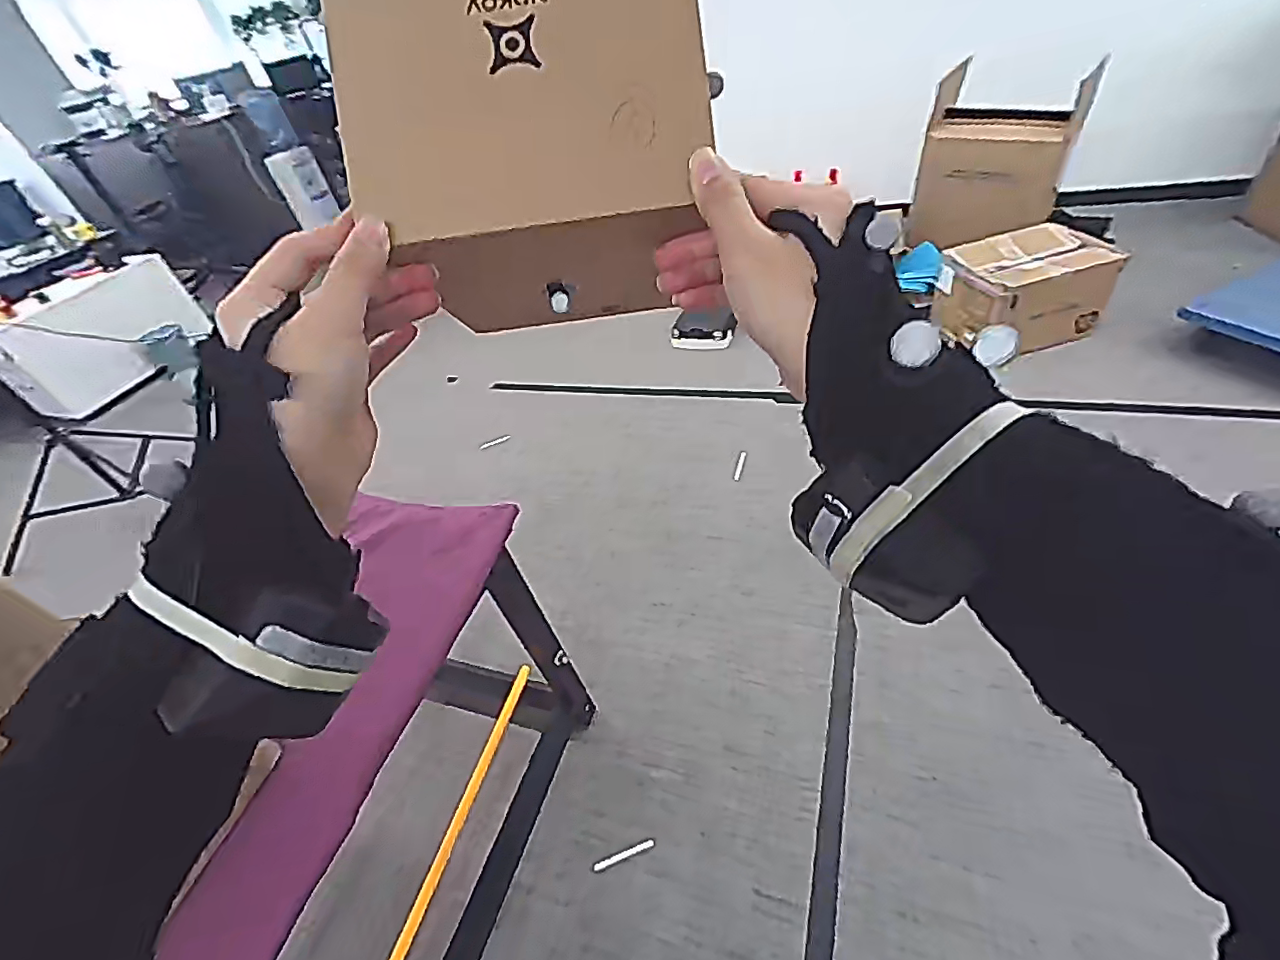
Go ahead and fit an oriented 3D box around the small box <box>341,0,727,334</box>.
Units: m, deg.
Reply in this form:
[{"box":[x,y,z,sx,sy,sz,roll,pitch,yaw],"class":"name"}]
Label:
[{"box":[-0.047,-0.192,0.322,0.168,0.179,0.176,-7,2,1],"class":"small box"}]
